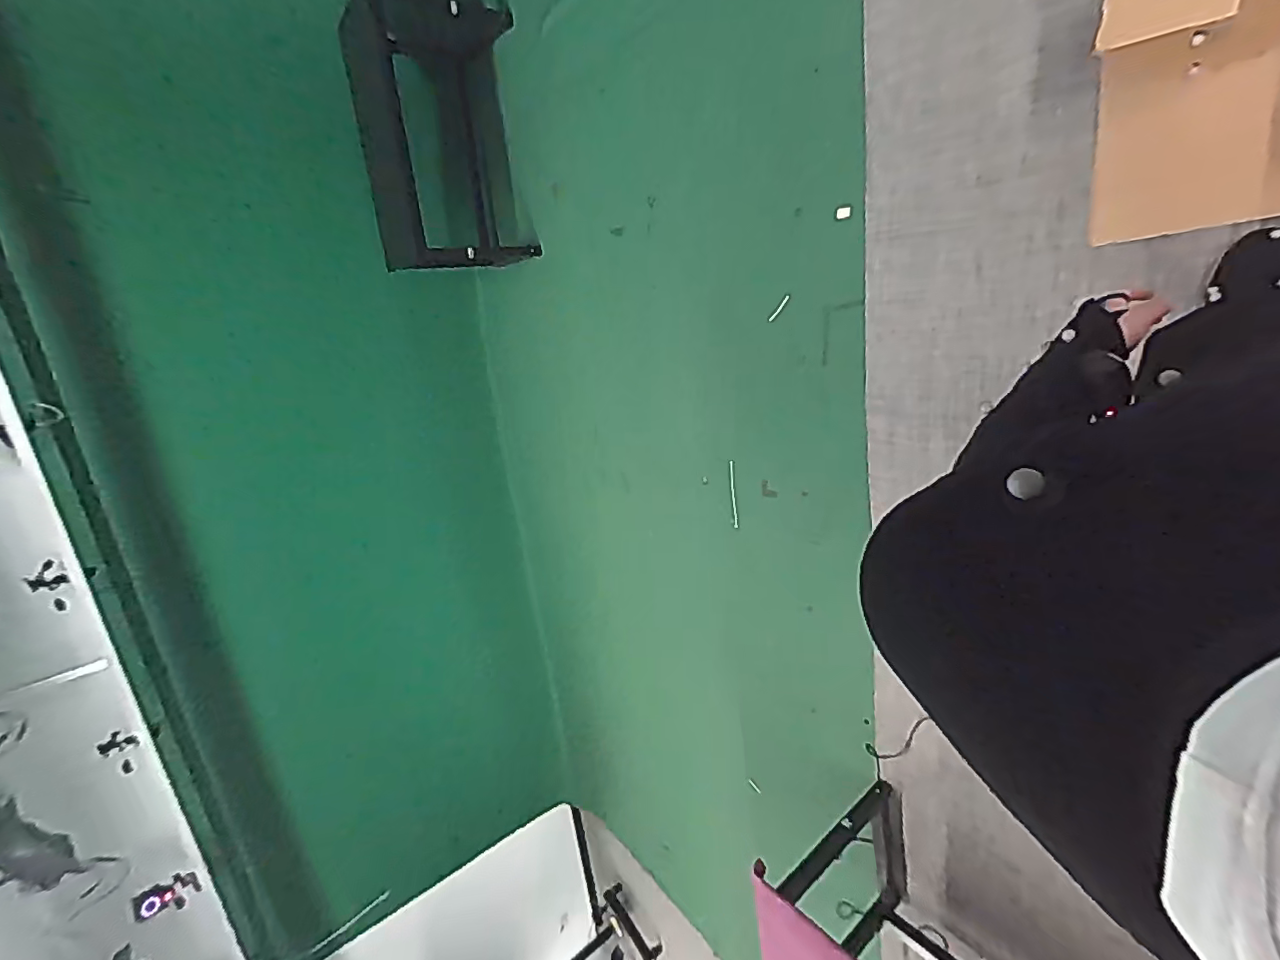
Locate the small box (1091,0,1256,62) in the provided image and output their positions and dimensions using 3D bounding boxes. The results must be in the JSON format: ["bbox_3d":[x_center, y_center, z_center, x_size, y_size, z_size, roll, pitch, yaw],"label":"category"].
[{"bbox_3d":[0.892,-0.819,0.885,0.179,0.176,0.168,23,122,48],"label":"small box"}]
